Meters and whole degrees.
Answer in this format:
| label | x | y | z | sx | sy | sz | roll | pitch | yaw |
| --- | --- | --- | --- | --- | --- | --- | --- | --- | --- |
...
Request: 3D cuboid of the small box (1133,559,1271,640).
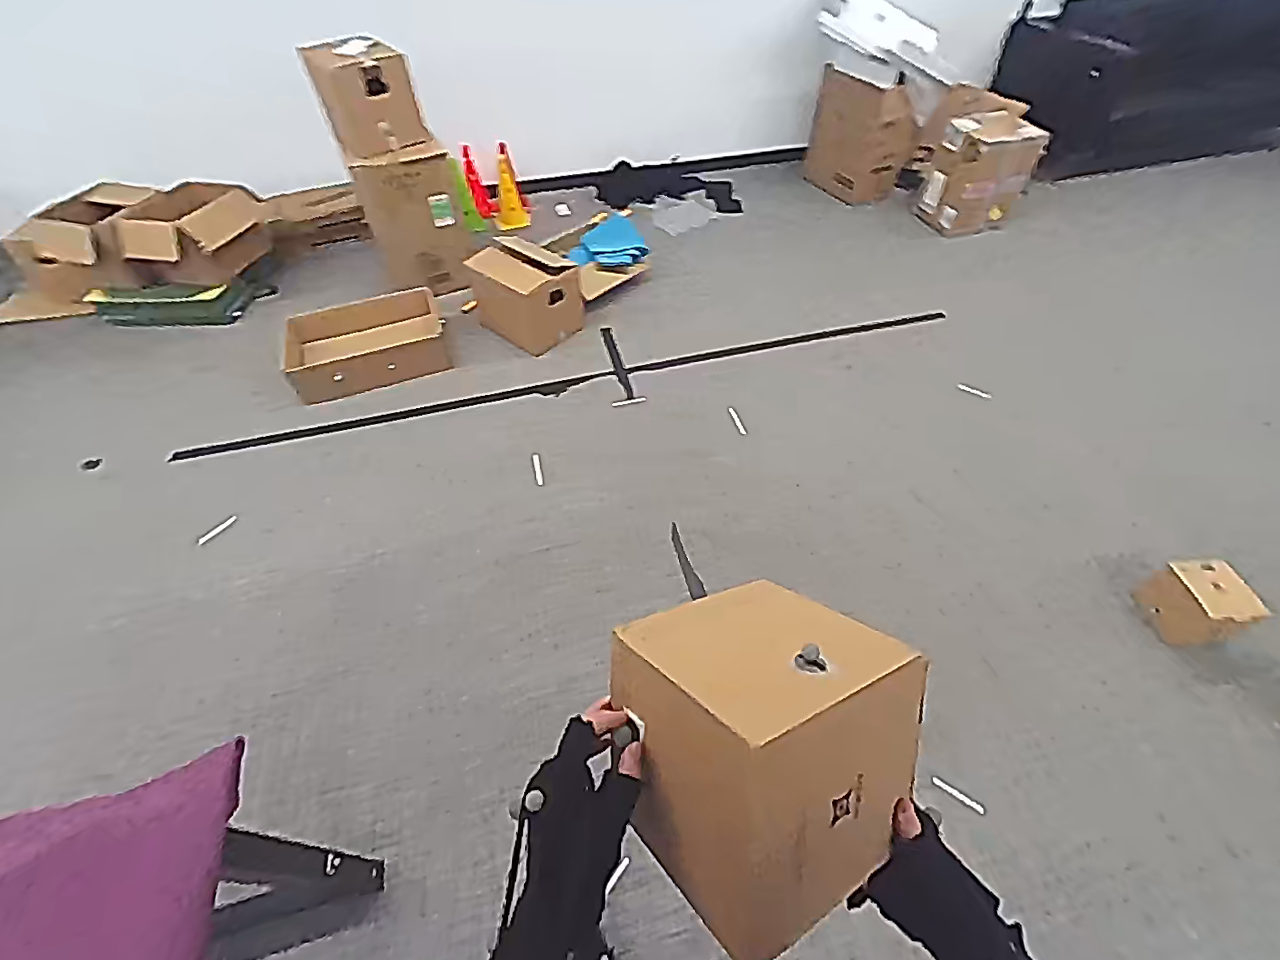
| label | x | y | z | sx | sy | sz | roll | pitch | yaw |
| --- | --- | --- | --- | --- | --- | --- | --- | --- | --- |
| small box | 1.579 | 0.344 | 1.534 | 0.168 | 0.176 | 0.179 | -2 | 50 | -1 |
